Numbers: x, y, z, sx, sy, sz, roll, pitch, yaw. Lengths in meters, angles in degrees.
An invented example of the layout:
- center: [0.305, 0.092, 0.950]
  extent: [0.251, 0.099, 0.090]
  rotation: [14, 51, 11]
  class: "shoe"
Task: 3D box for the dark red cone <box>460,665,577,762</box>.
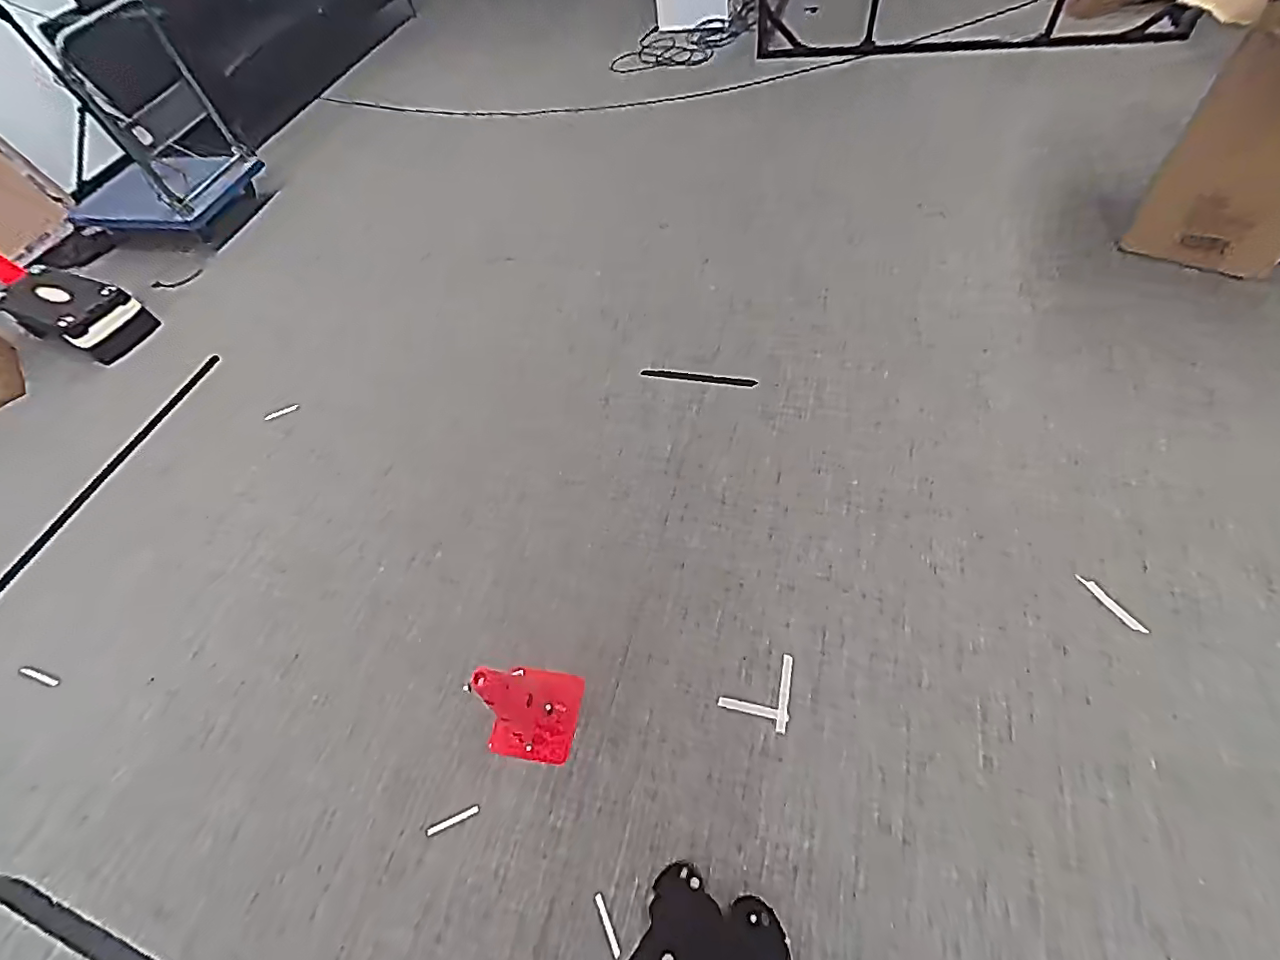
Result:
- center: [-0.278, 0.454, 1.126]
  extent: [0.202, 0.394, 0.201]
  rotation: [3, 59, 12]
  class: "dark red cone"
